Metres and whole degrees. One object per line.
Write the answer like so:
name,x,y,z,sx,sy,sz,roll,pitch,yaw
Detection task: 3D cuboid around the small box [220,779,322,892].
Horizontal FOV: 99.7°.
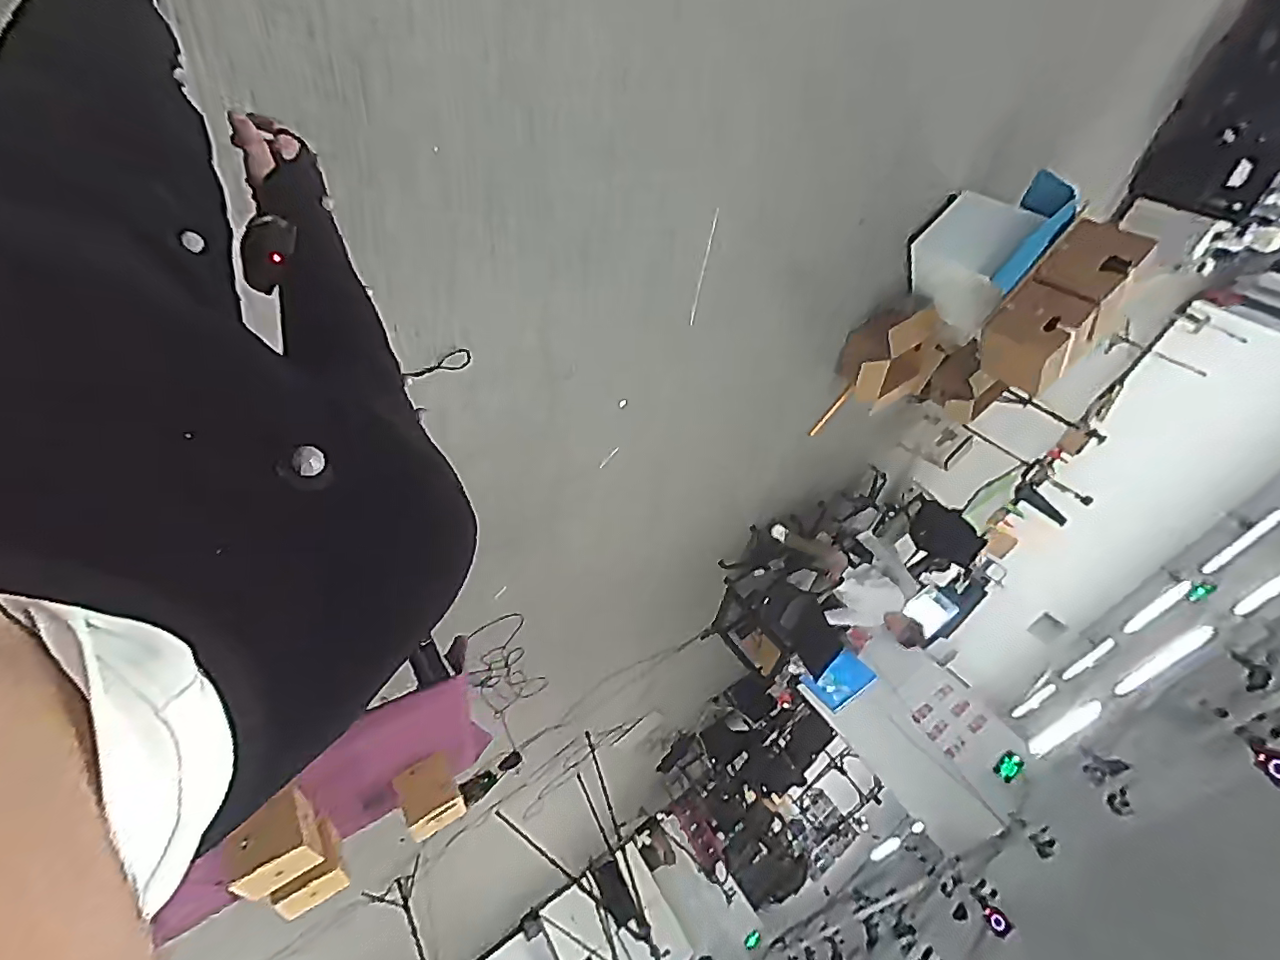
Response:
small box,-0.952,0.912,1.397,0.168,0.176,0.179,-21,142,-28

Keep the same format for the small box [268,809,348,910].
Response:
small box,-0.983,1.110,1.592,0.168,0.176,0.179,-19,139,-30
